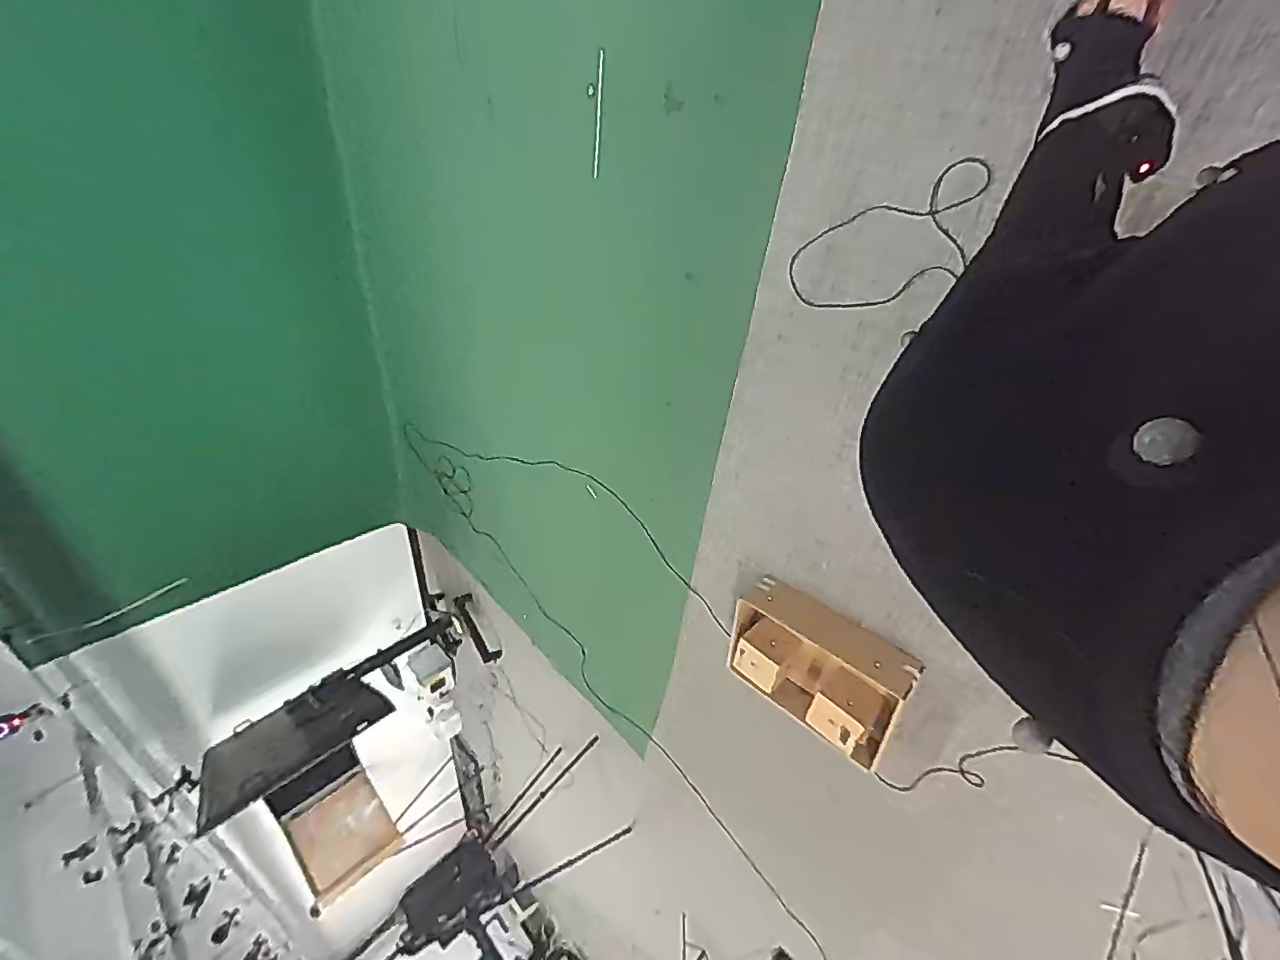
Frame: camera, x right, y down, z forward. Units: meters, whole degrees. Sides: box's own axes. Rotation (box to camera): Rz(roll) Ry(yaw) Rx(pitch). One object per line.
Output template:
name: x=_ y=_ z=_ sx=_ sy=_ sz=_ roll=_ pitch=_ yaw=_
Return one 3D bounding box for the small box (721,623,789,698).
small box: x=0.439 y=0.675 z=2.048 sx=0.179 sy=0.176 sz=0.168 roll=32 pitch=130 yaw=32
